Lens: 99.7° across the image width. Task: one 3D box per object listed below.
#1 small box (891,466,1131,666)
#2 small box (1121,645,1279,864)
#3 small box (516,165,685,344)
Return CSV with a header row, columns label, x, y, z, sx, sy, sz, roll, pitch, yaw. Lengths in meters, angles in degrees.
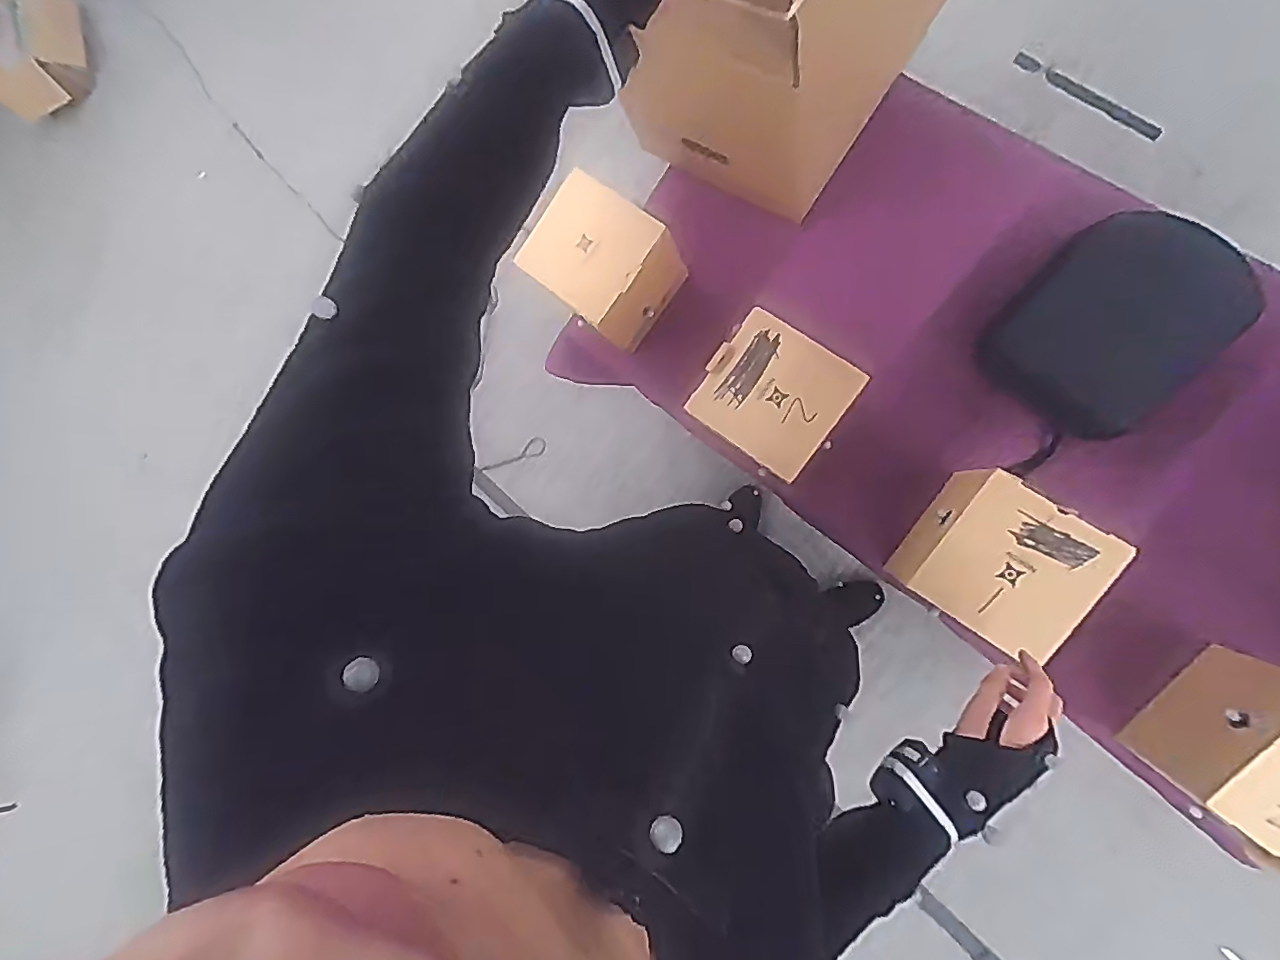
label,x,y,z,sx,sy,sz,roll,pitch,yaw
small box,0.454,0.098,0.702,0.168,0.176,0.179,36,99,14
small box,0.726,0.320,0.621,0.168,0.176,0.179,40,99,13
small box,-0.053,-0.338,0.847,0.179,0.176,0.168,39,99,11
